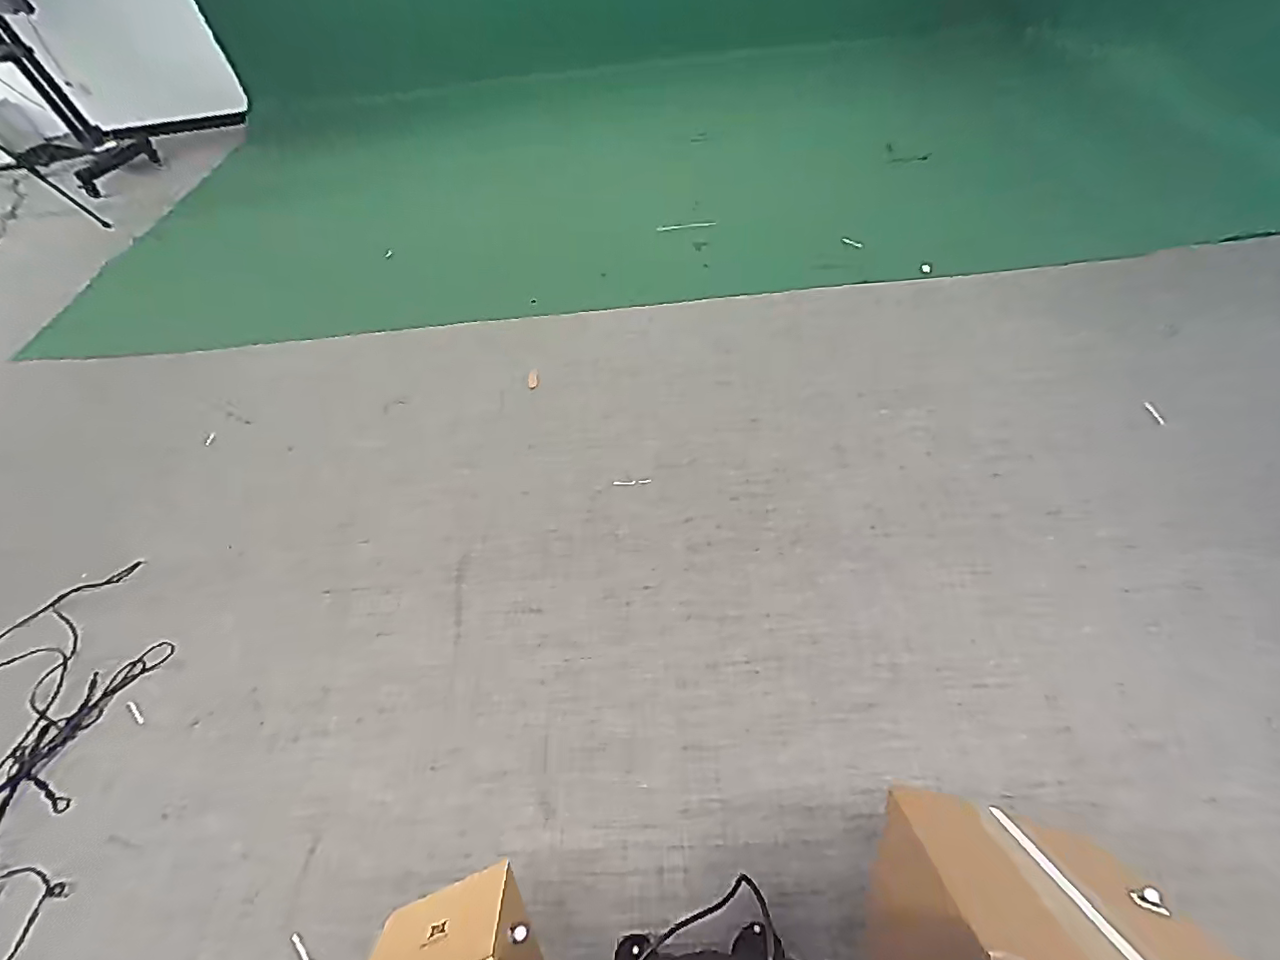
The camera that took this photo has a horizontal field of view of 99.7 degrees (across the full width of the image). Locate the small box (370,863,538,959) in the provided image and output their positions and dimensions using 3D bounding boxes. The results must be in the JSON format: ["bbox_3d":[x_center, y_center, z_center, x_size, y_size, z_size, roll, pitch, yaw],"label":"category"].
[{"bbox_3d":[-0.221,0.629,0.656,0.168,0.179,0.176,-19,88,-9],"label":"small box"}]
